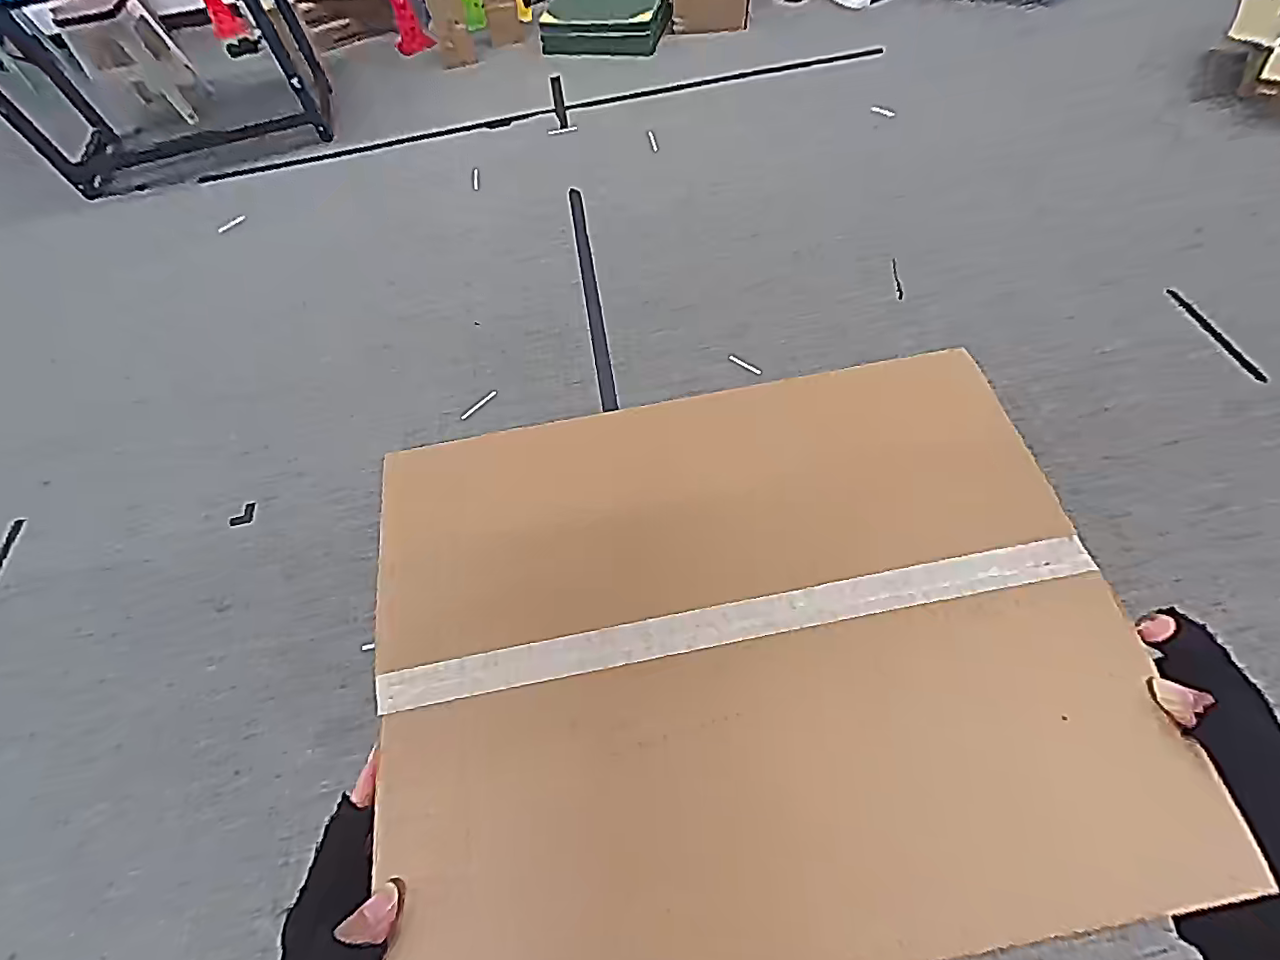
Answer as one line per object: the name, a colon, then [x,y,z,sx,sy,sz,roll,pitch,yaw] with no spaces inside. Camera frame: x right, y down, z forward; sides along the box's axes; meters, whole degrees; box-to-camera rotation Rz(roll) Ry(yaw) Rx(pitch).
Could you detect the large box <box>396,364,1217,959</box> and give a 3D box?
large box: [0.063,0.155,0.449,0.408,0.320,0.320,-11,64,-2]
